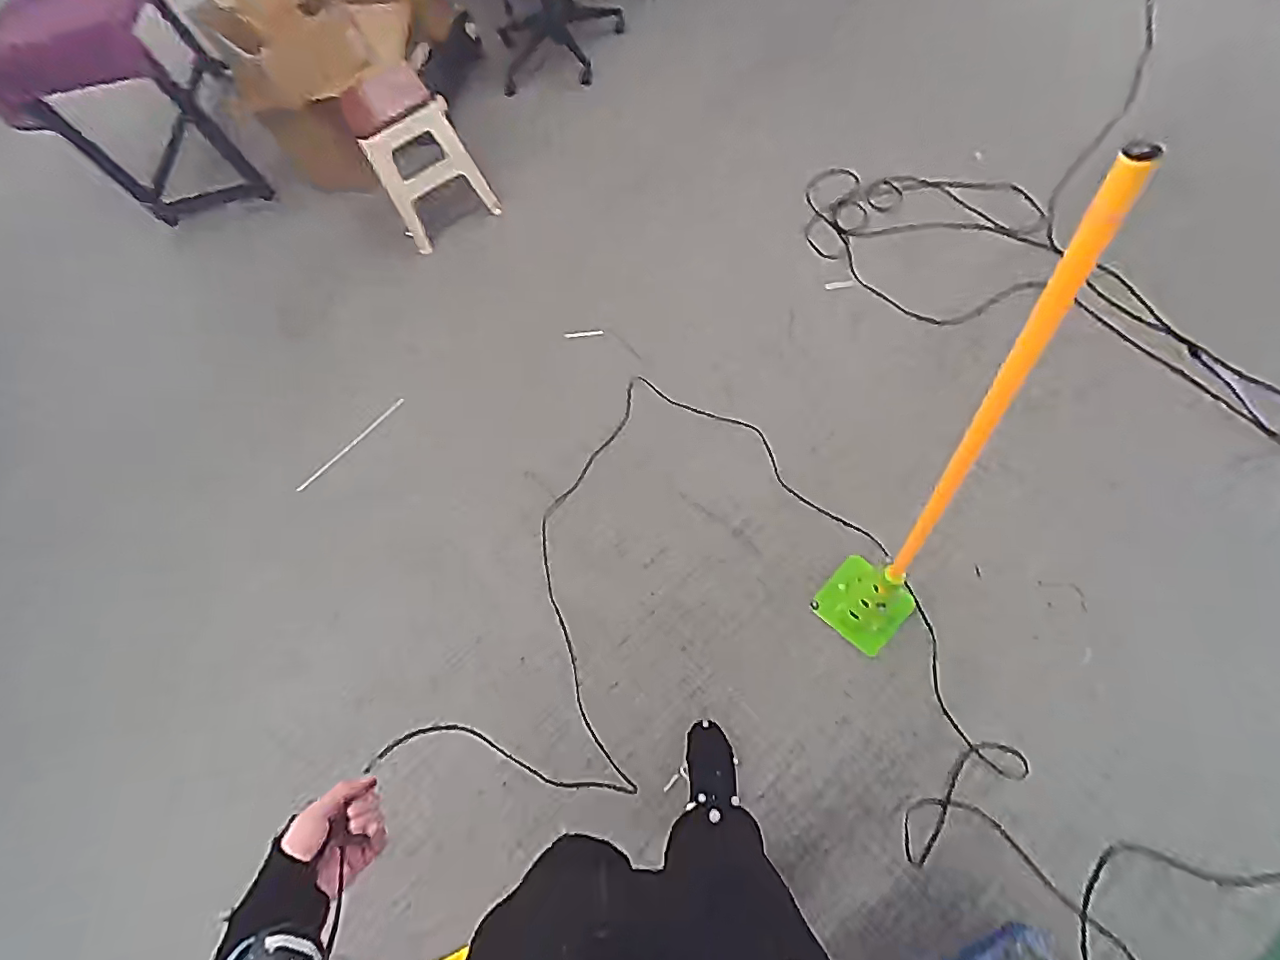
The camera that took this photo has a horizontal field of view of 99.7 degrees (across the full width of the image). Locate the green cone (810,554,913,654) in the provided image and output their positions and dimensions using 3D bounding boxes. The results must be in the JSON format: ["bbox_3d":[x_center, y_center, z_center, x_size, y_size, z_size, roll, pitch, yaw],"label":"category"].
[{"bbox_3d":[0.548,0.252,1.248,0.200,0.368,0.202,39,78,22],"label":"green cone"}]
